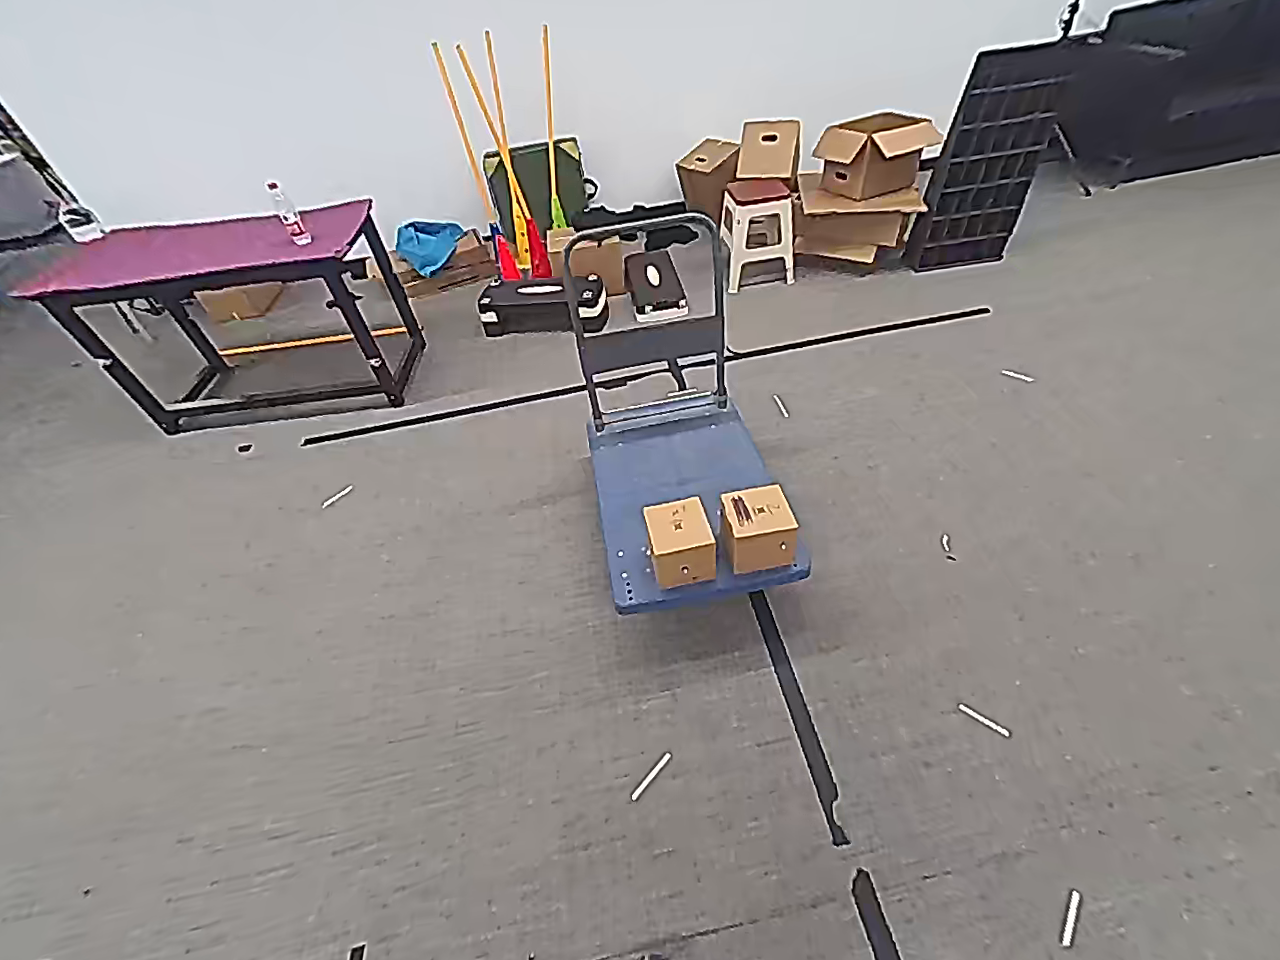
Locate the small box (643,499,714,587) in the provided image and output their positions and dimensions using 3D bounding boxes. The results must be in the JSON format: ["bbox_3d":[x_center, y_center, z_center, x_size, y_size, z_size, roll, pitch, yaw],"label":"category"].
[{"bbox_3d":[0.112,0.185,1.532,0.168,0.176,0.179,-12,44,-4],"label":"small box"}]
